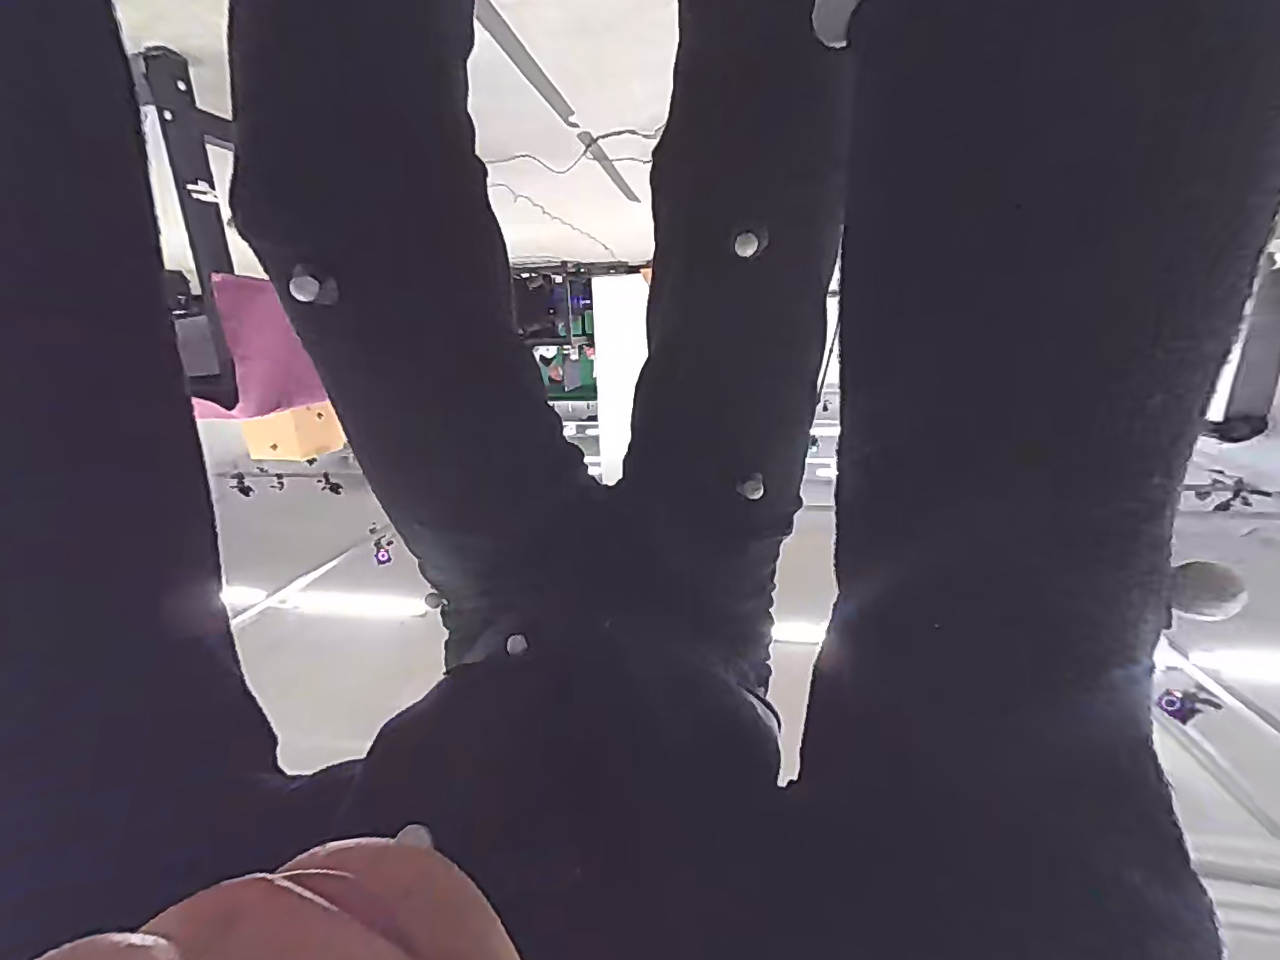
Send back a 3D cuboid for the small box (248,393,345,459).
[{"bbox_3d":[-1.007,-0.163,1.584,0.179,0.176,0.168,1,-163,12],"label":"small box"}]
